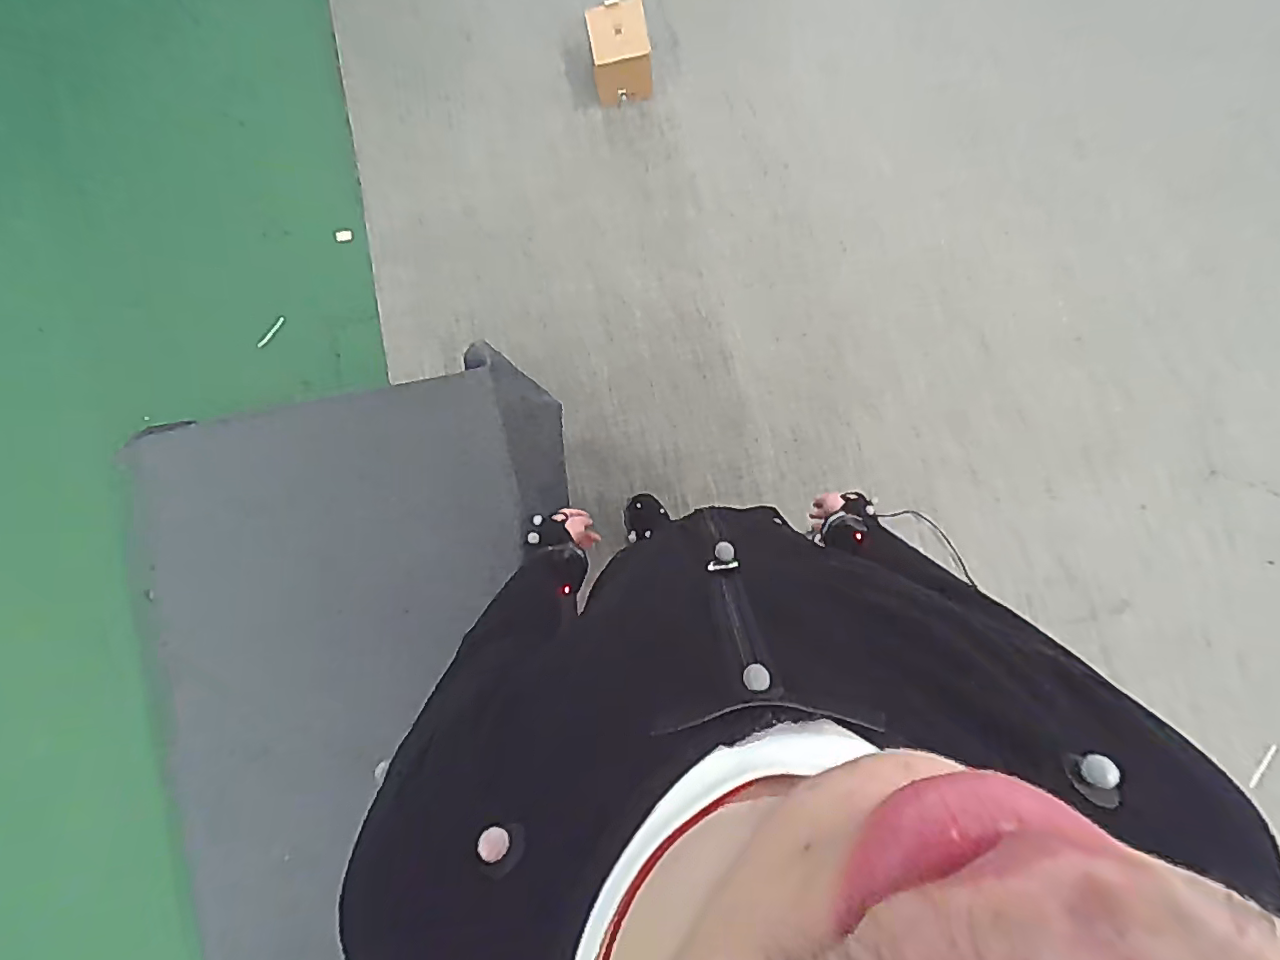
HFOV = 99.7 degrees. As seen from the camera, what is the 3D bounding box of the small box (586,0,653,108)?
[{"bbox_3d":[-0.056,-1.242,1.583,0.168,0.176,0.179,-9,86,4],"label":"small box"}]
